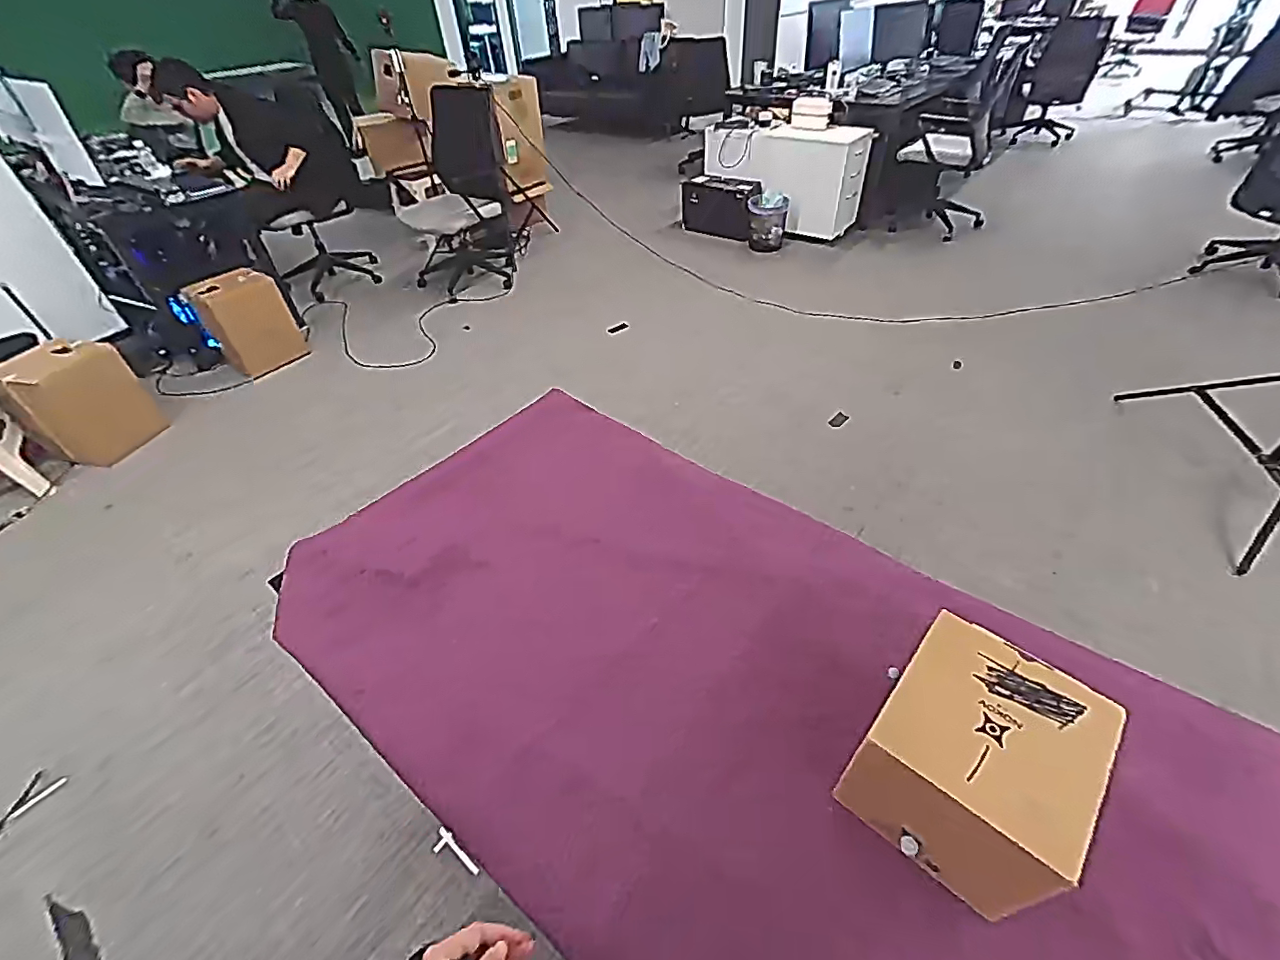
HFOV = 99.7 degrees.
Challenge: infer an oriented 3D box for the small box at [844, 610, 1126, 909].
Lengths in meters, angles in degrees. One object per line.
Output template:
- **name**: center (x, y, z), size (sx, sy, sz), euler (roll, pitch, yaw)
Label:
- **small box**: center (0.327, 0.274, 0.541), size (0.168, 0.176, 0.179), euler (30, 54, 31)
